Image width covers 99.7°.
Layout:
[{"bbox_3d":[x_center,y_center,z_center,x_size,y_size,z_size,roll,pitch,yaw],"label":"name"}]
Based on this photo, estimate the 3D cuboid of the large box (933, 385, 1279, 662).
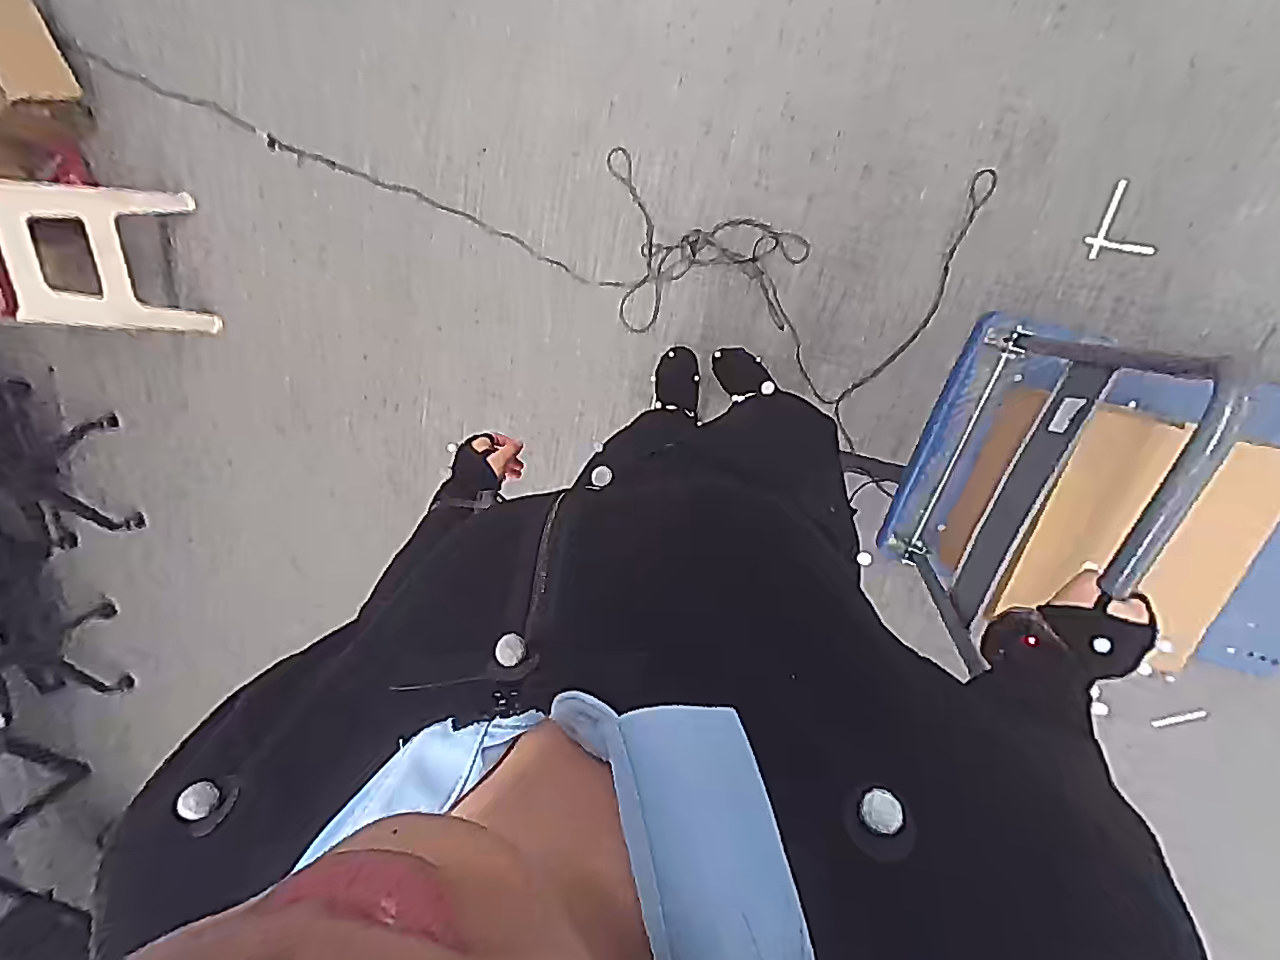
[{"bbox_3d":[0.833,0.058,1.041,0.320,0.320,0.408,14,111,8],"label":"large box"}]
